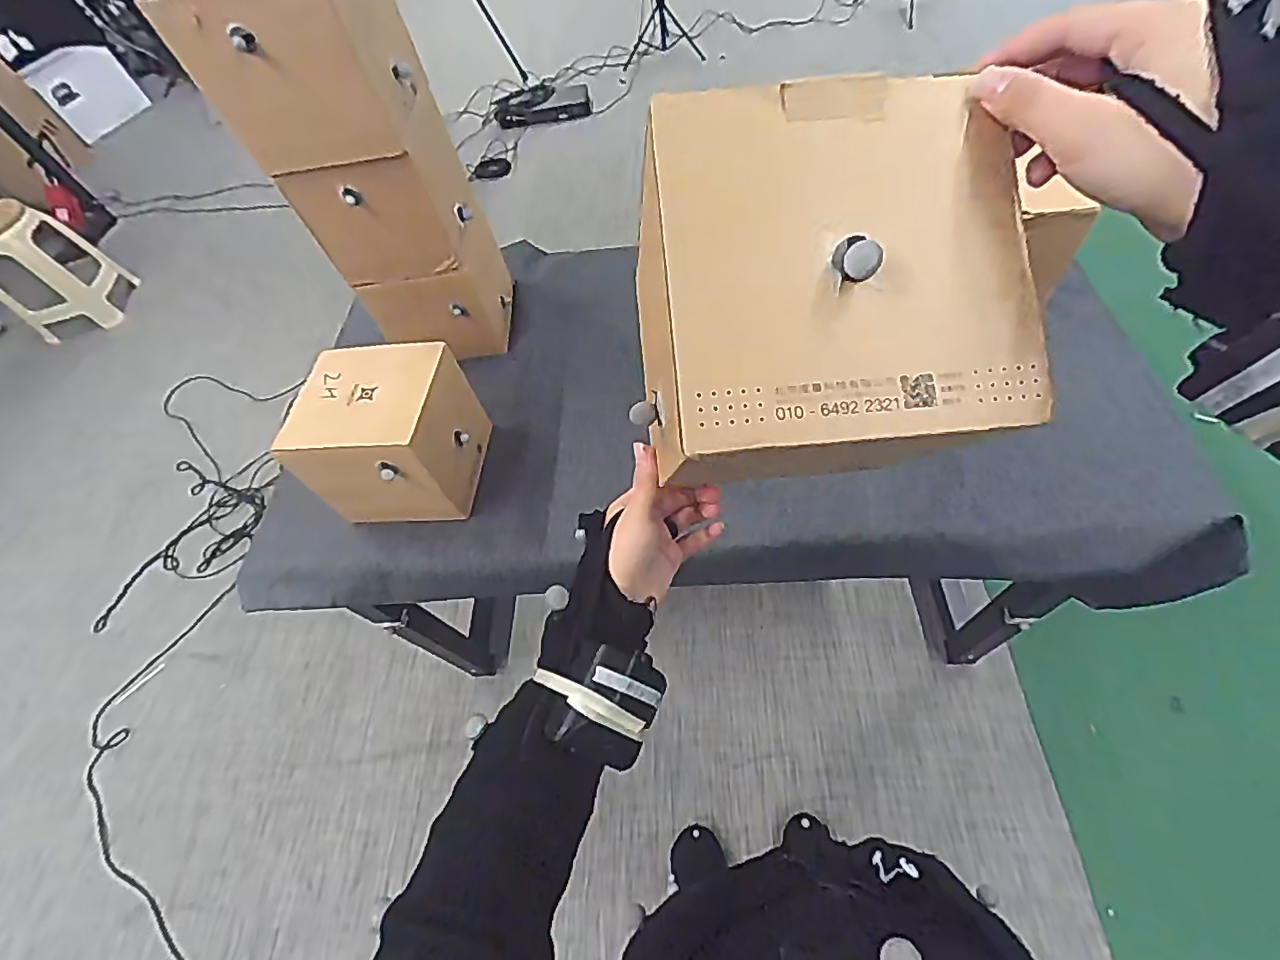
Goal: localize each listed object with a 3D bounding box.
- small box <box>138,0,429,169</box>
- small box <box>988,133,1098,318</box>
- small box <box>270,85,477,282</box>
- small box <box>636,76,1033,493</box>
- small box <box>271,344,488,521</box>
[{"bbox_3d":[-0.362,-0.467,0.588,0.179,0.176,0.168,-5,60,5],"label":"small box"},{"bbox_3d":[0.477,-0.347,0.760,0.168,0.176,0.179,-2,60,9],"label":"small box"},{"bbox_3d":[-0.343,-0.392,0.733,0.179,0.176,0.168,-6,60,4],"label":"small box"},{"bbox_3d":[0.088,-0.087,0.319,0.168,0.179,0.176,-5,85,-2],"label":"small box"},{"bbox_3d":[-0.320,-0.056,0.711,0.179,0.176,0.168,-2,56,8],"label":"small box"}]
